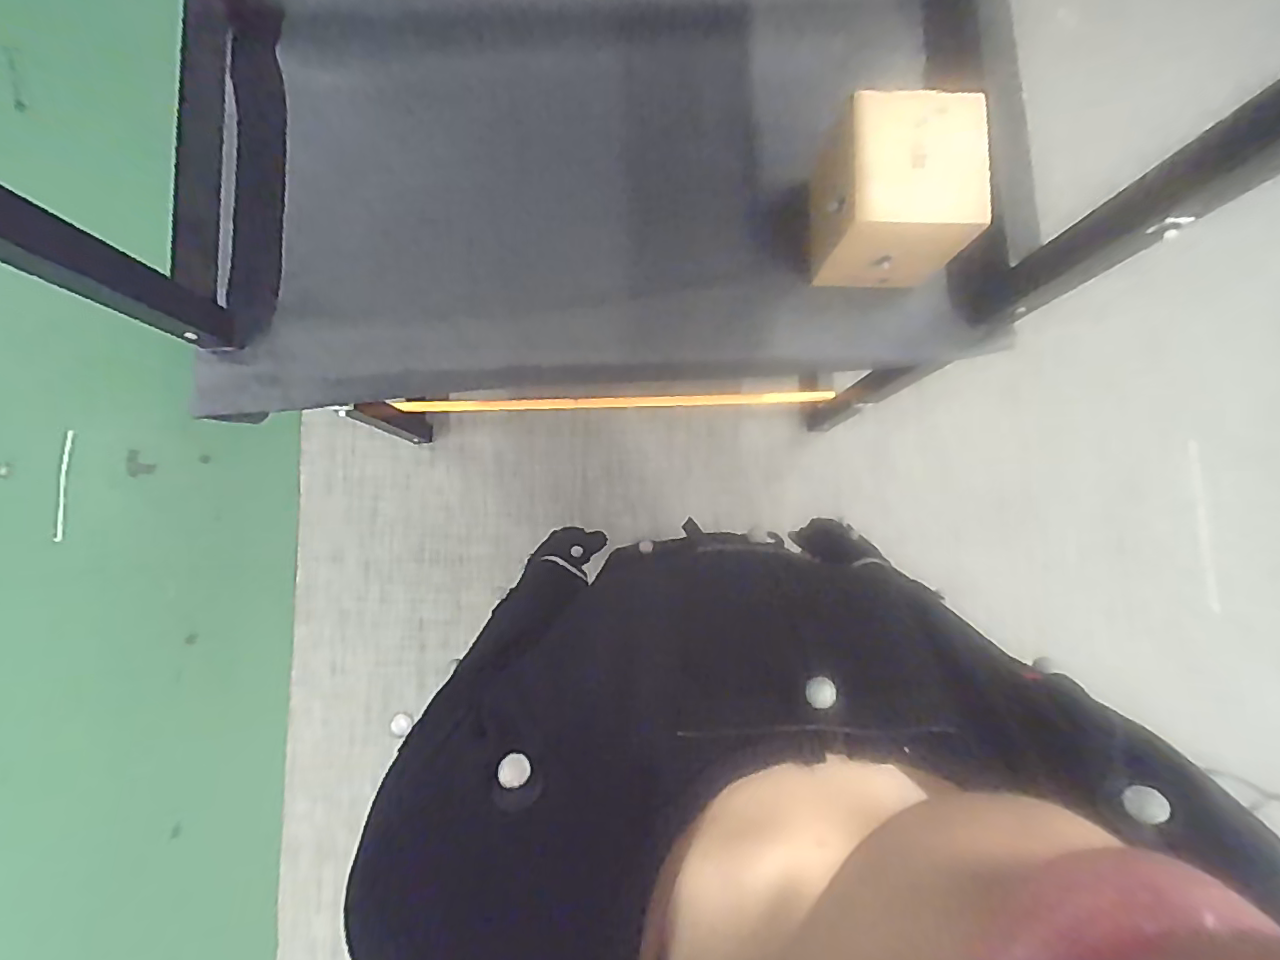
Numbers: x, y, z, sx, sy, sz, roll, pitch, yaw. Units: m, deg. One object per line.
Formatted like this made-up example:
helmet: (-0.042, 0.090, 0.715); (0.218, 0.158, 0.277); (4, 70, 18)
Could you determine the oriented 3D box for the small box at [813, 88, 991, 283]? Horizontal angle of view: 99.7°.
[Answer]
small box: (0.345, -0.387, 0.739); (0.168, 0.176, 0.179); (2, 84, 0)
